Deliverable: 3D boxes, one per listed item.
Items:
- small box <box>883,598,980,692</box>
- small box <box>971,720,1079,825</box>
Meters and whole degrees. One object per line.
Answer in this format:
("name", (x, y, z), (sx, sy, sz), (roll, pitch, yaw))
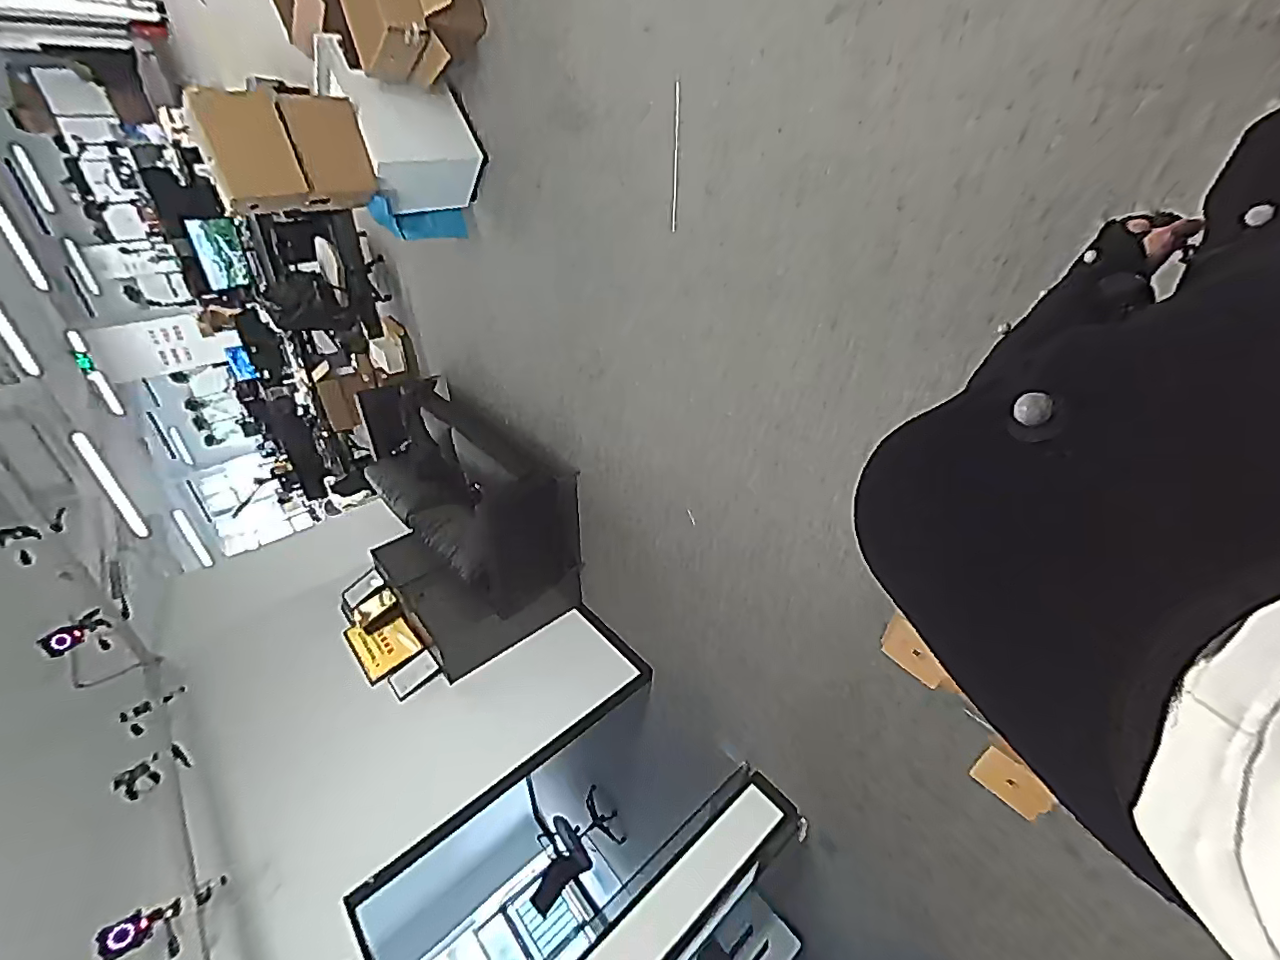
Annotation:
("small box", (0.874, 0.487, 1.618), (0.179, 0.176, 0.168), (38, 138, 33))
("small box", (1.092, 0.819, 1.537), (0.179, 0.176, 0.168), (35, 136, 36))
